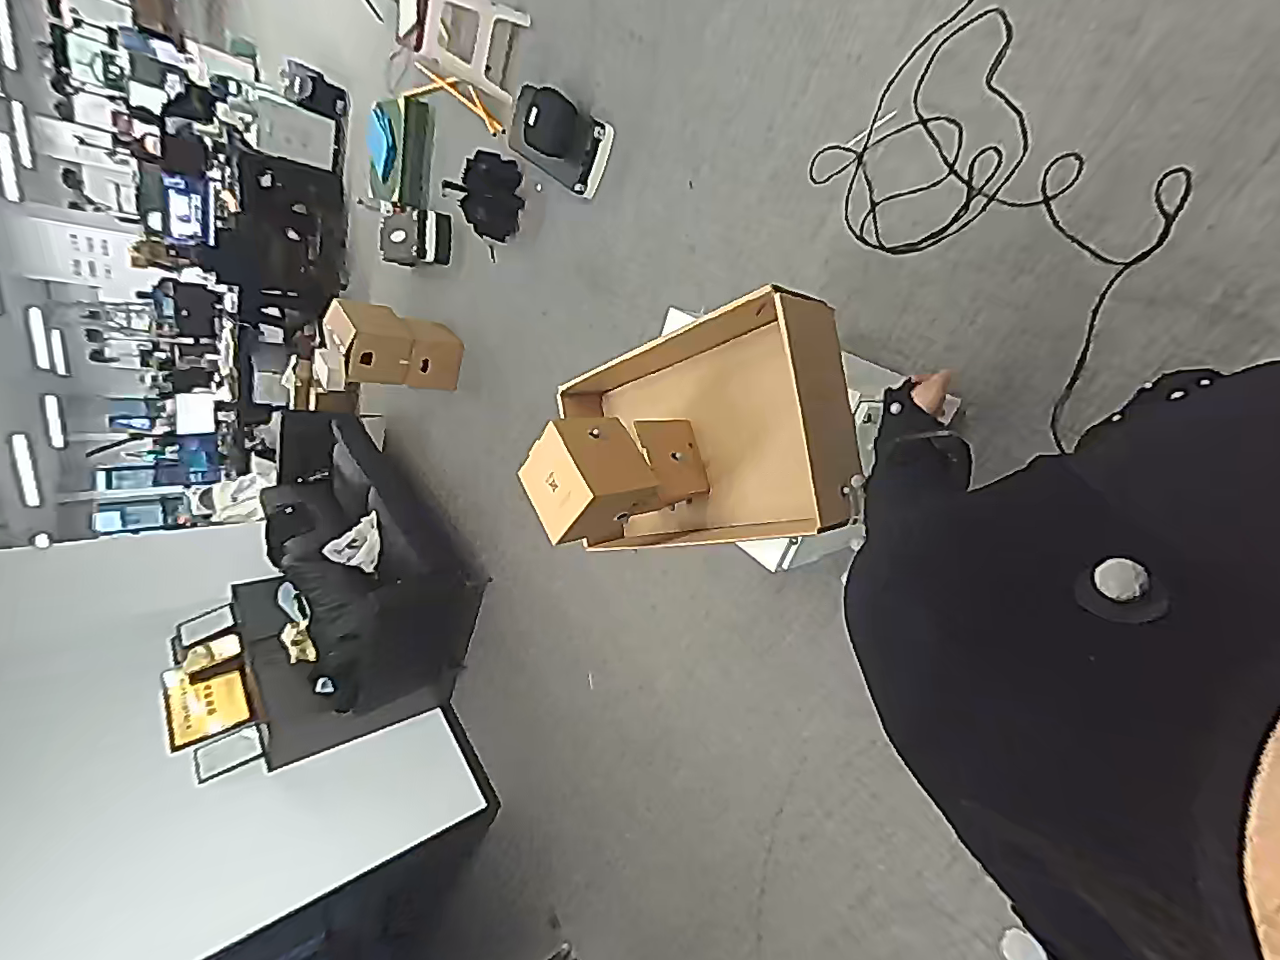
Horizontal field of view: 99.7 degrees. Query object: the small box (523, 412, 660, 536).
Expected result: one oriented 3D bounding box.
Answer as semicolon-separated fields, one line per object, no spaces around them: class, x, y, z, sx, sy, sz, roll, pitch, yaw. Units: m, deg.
small box;-0.095;-0.016;1.056;0.168;0.176;0.179;-50;62;39
